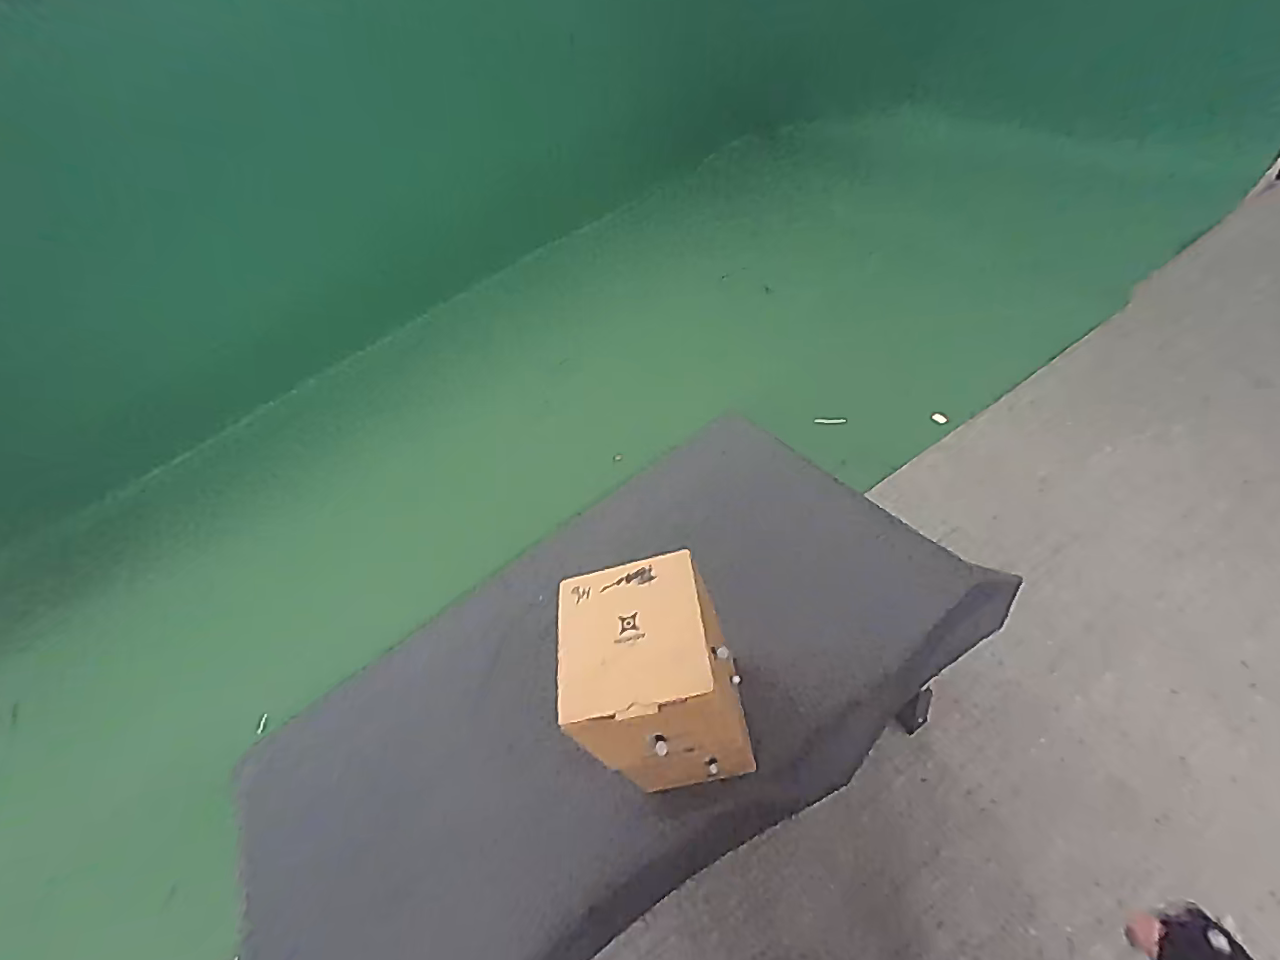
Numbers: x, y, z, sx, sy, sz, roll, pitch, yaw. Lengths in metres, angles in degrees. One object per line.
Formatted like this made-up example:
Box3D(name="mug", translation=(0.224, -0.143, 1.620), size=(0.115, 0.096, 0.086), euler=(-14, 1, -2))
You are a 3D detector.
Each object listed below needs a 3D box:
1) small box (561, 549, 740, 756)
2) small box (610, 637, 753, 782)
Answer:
Box3D(name="small box", translation=(0.014, 0.214, 0.646), size=(0.168, 0.176, 0.179), euler=(-15, 47, 8))
Box3D(name="small box", translation=(0.056, 0.312, 0.771), size=(0.168, 0.176, 0.179), euler=(-15, 45, 8))
